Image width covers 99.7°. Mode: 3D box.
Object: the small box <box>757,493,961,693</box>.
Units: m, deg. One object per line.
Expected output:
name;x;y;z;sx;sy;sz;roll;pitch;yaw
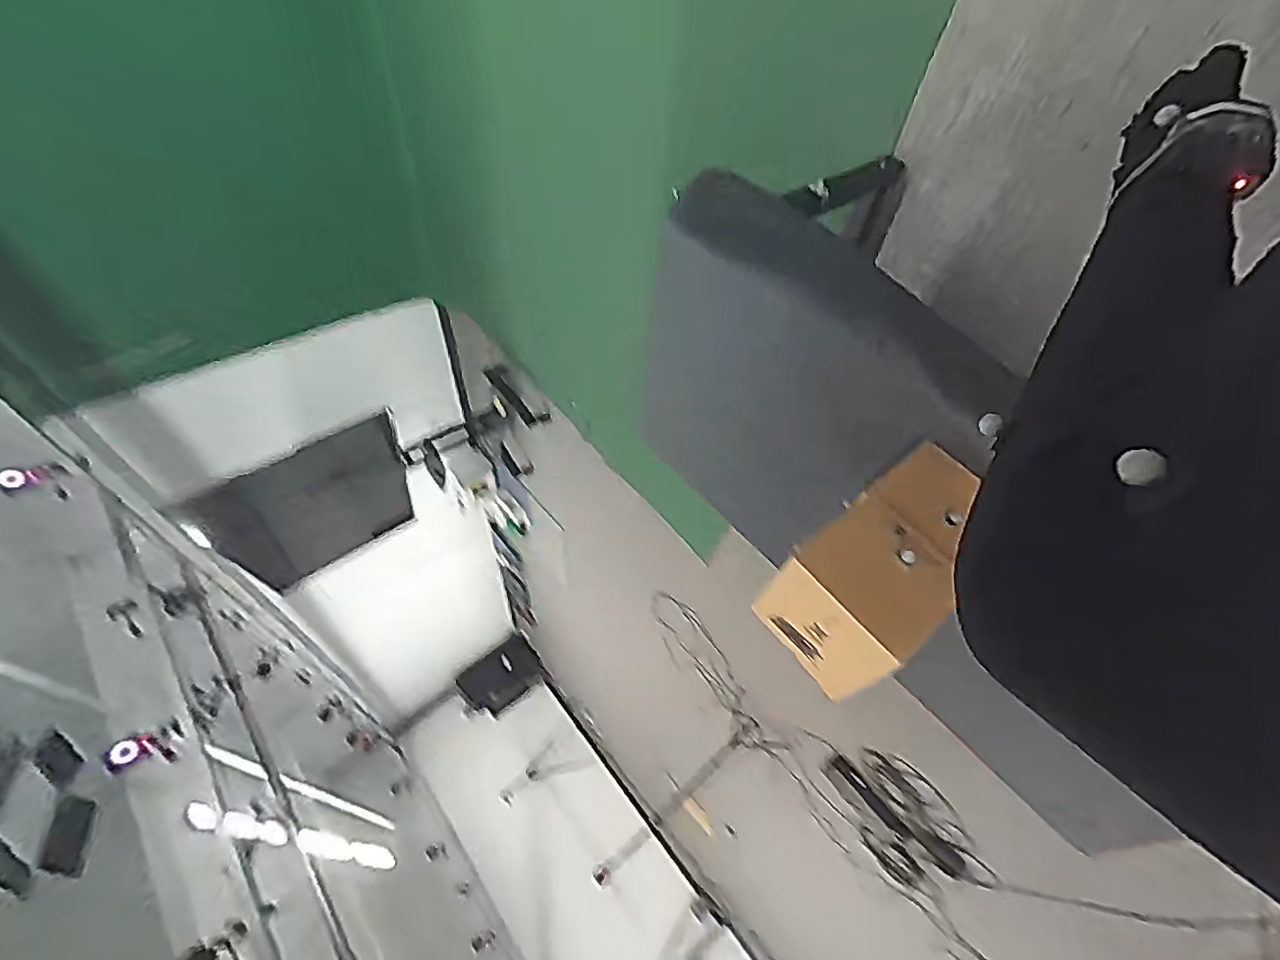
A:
small box;0.292;0.152;0.737;0.168;0.176;0.179;46;154;26

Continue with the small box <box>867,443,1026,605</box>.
small box;0.420;0.077;0.808;0.179;0.176;0.168;47;152;23
